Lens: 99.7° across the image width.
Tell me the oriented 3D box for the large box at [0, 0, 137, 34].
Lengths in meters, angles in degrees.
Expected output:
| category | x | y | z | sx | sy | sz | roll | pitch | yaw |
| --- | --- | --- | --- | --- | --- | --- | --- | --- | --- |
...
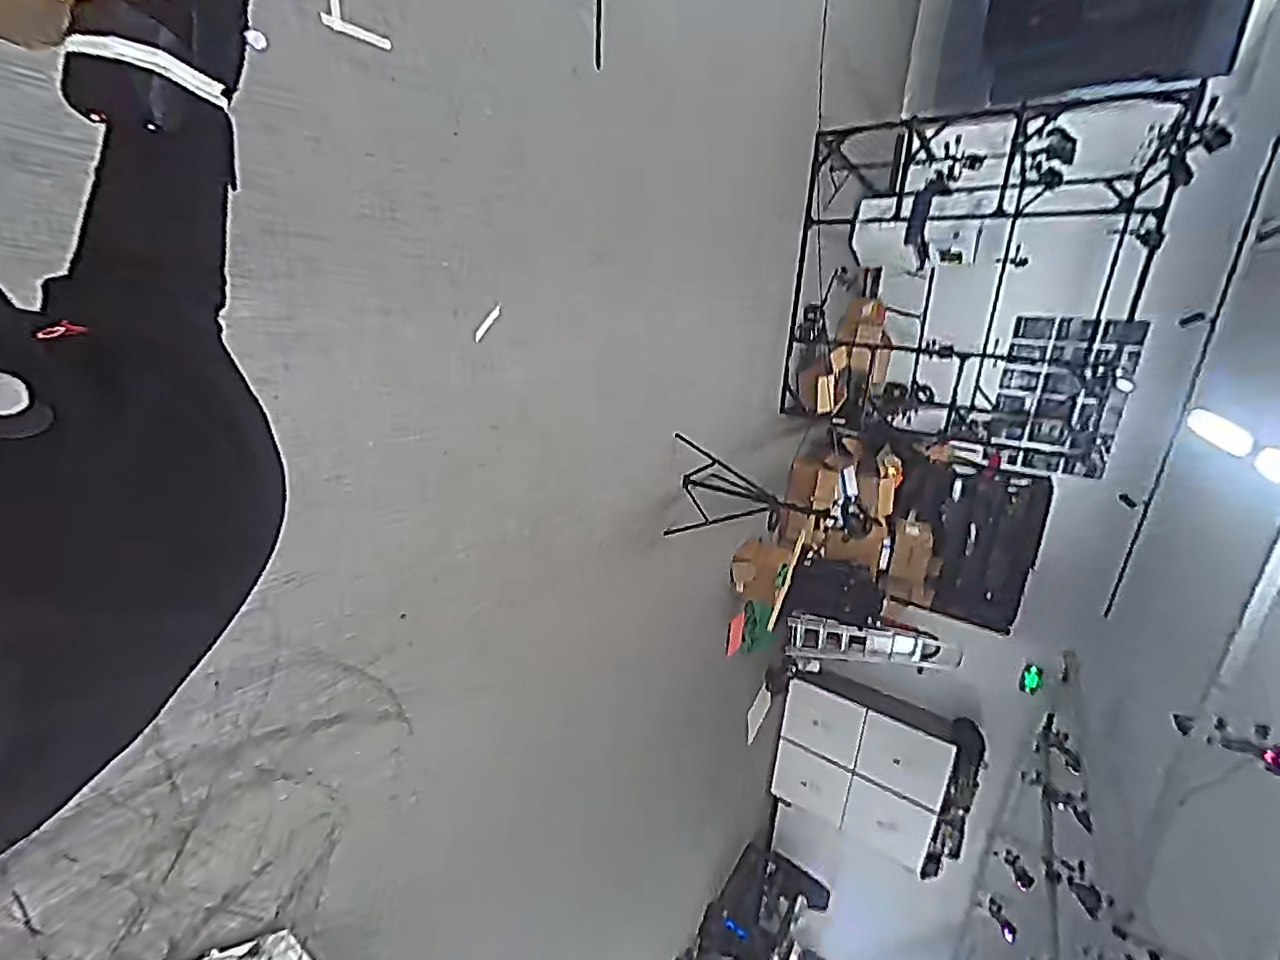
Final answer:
| category | x | y | z | sx | sy | sz | roll | pitch | yaw |
| --- | --- | --- | --- | --- | --- | --- | --- | --- | --- |
| large box | -0.527 | -0.490 | 0.235 | 0.408 | 0.320 | 0.320 | -6 | 117 | -58 |
